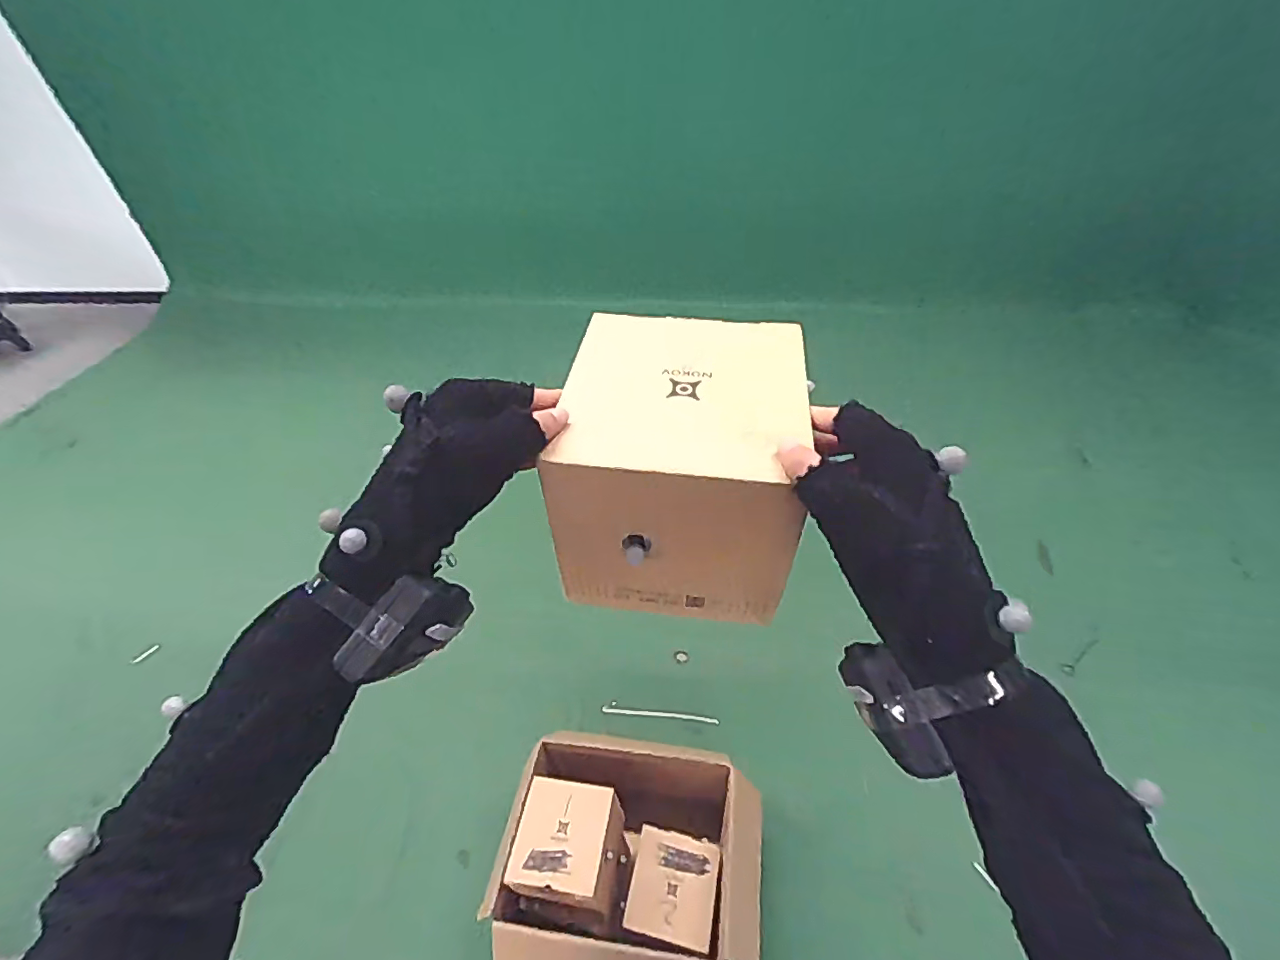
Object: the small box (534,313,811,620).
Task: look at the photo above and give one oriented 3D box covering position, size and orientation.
[{"bbox_3d":[0.032,-0.010,0.424,0.168,0.176,0.179,5,46,7],"label":"small box"}]
